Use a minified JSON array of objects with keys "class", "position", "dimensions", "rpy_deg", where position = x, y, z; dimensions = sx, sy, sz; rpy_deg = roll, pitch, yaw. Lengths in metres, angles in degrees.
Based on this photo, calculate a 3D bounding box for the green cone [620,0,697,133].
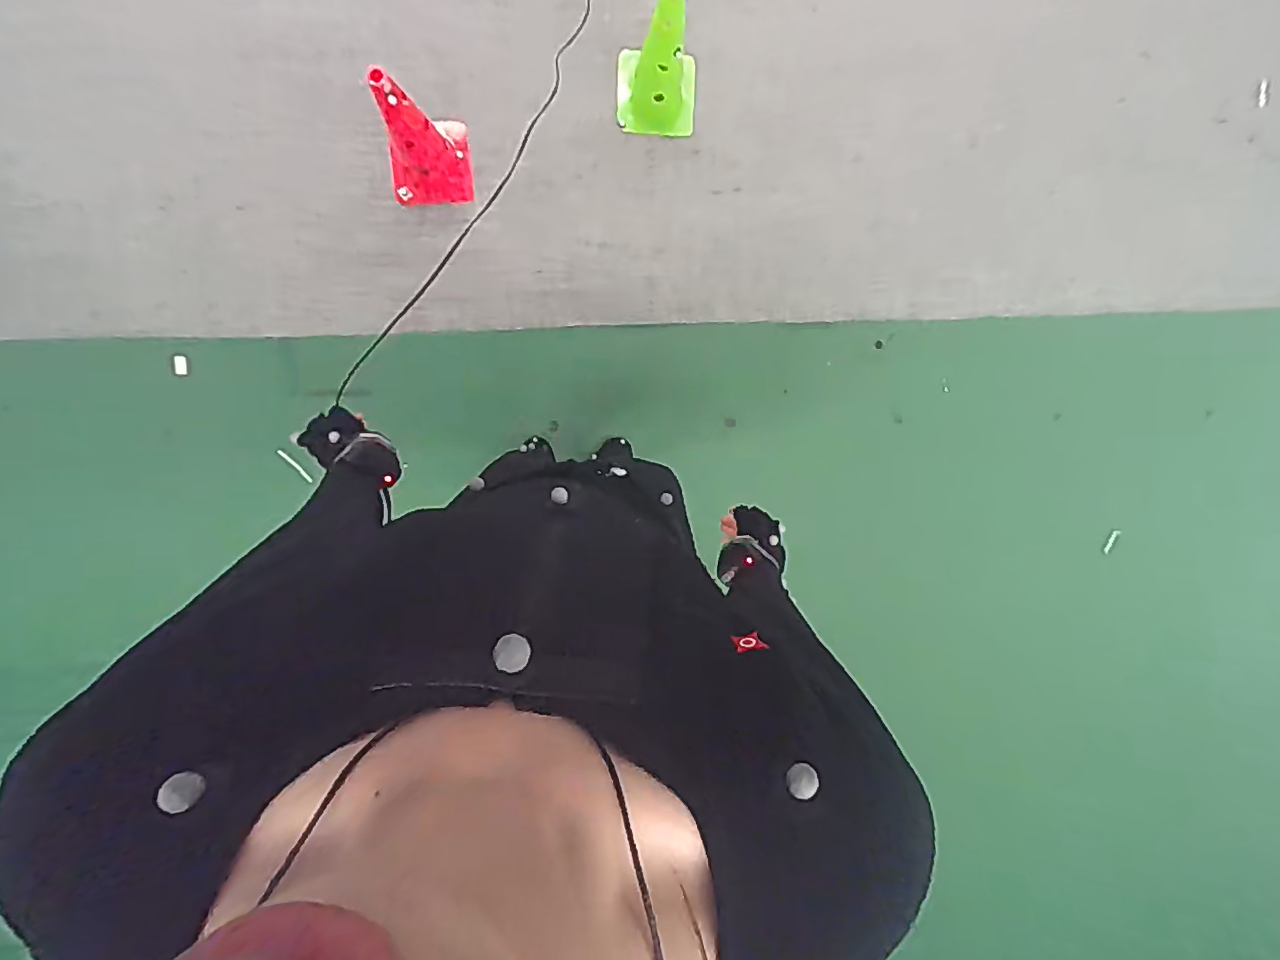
[{"class":"green cone","position":[0.062,-0.996,1.237],"dimensions":[0.200,0.368,0.202],"rpy_deg":[0,95,-5]}]
